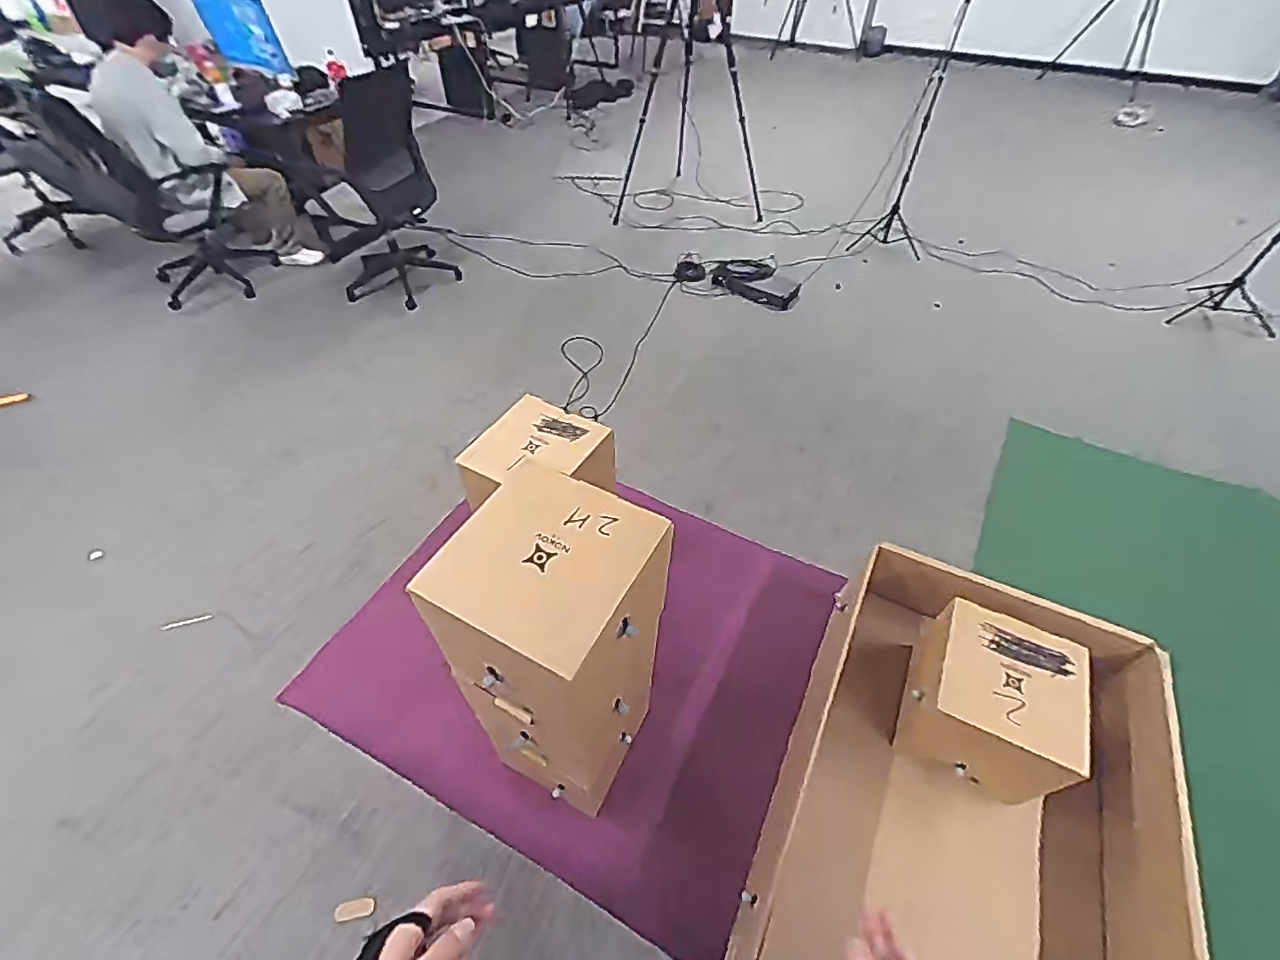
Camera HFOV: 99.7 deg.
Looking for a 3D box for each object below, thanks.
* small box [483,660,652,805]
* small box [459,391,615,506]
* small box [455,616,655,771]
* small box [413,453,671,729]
[{"bbox_3d":[-0.093,0.331,0.779,0.168,0.176,0.179,22,51,17],"label":"small box"},{"bbox_3d":[-0.152,-0.005,0.857,0.168,0.176,0.179,24,53,19],"label":"small box"},{"bbox_3d":[-0.088,0.220,0.660,0.168,0.176,0.179,22,52,16],"label":"small box"},{"bbox_3d":[-0.082,0.111,0.535,0.168,0.176,0.179,24,51,17],"label":"small box"}]
